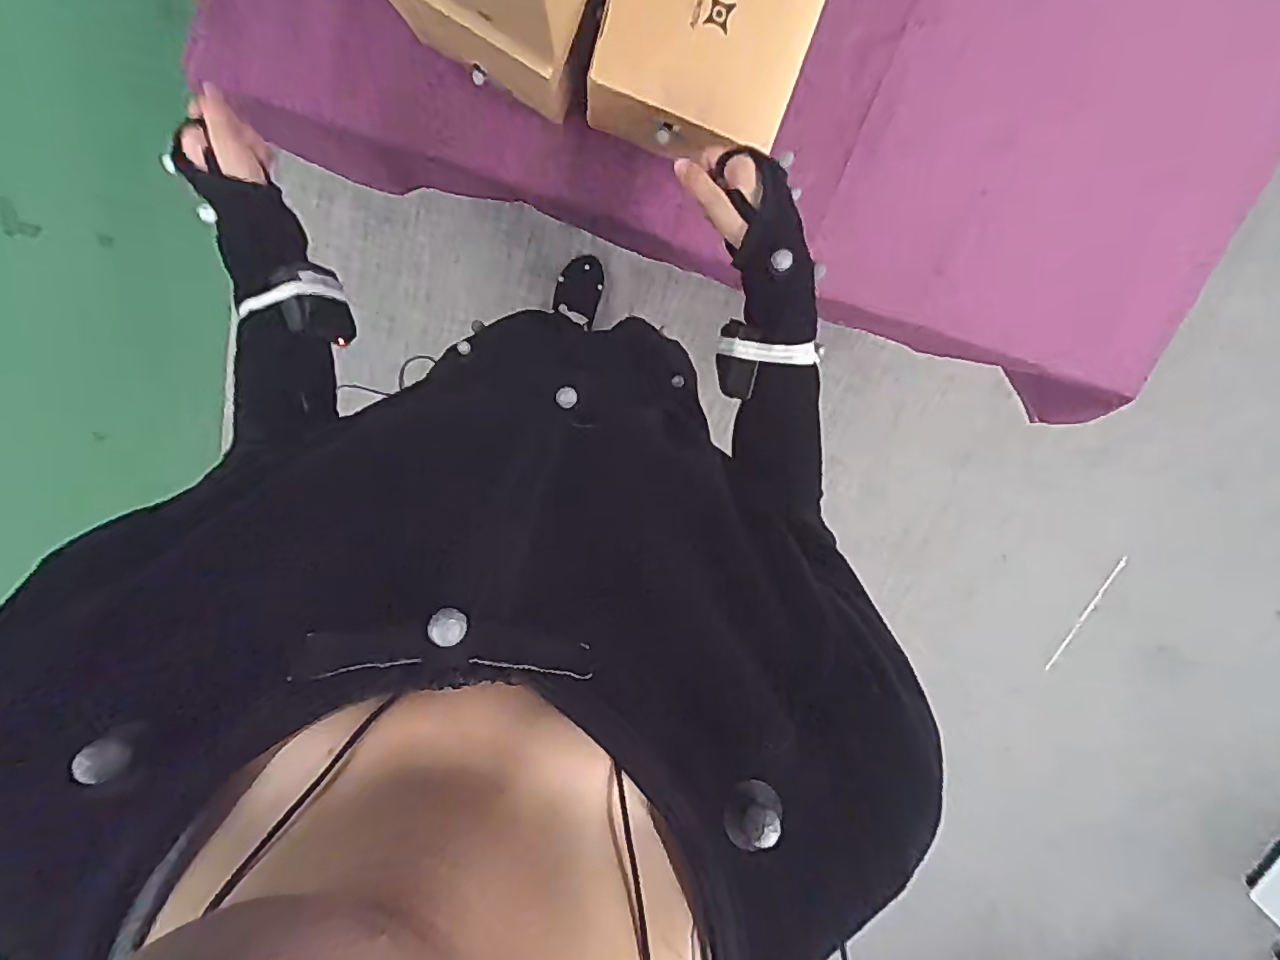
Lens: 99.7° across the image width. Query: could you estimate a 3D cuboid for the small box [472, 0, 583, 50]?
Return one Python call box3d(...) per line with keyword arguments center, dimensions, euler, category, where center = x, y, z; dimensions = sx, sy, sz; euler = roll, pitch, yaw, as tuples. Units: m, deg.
box3d(center=(-0.093, -0.420, 0.330), dimensions=(0.168, 0.176, 0.179), euler=(24, 107, -14), category="small box")
